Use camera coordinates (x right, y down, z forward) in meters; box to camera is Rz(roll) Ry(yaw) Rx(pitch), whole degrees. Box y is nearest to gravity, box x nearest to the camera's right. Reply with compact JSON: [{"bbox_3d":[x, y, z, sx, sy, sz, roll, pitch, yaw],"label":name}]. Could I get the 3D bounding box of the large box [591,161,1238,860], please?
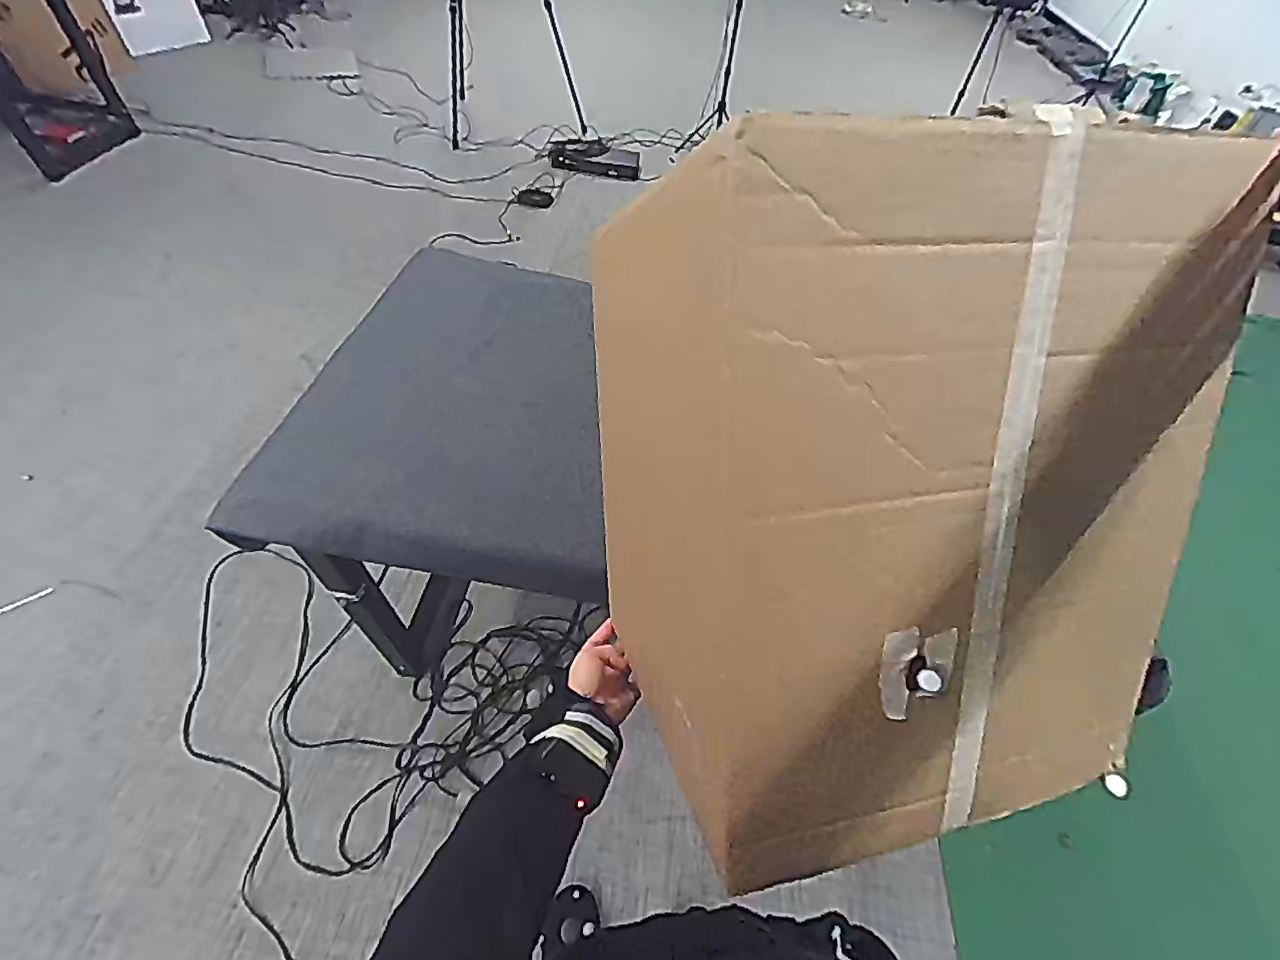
[{"bbox_3d":[0.154,-0.009,0.456,0.320,0.408,0.320,-8,19,-14],"label":"large box"}]
